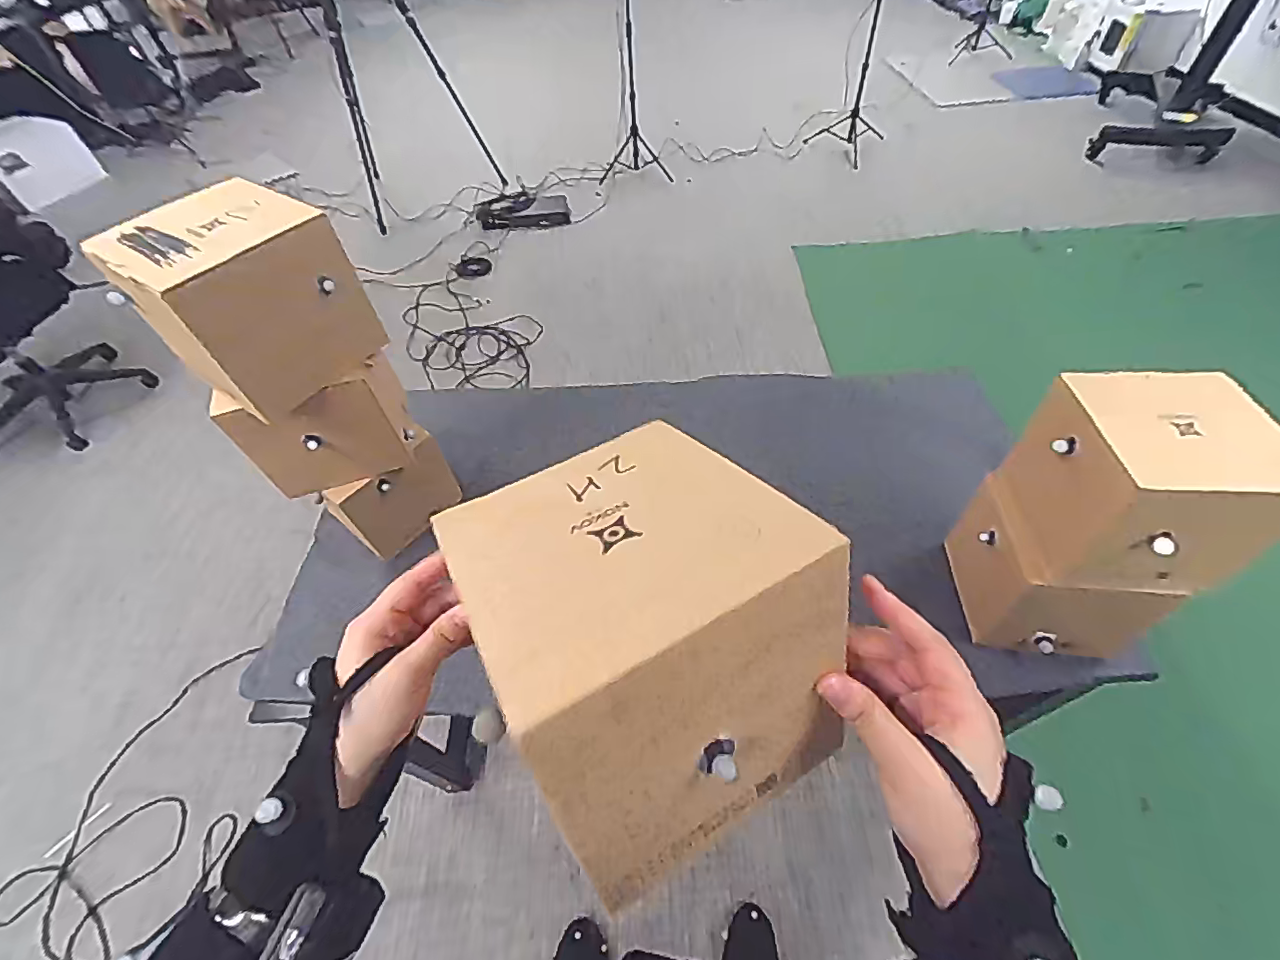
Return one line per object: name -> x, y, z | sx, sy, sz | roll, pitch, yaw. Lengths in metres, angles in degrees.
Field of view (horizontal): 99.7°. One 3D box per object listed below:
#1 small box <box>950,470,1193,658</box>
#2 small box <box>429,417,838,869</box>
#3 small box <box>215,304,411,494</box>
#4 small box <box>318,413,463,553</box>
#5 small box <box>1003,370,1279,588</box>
small box -> 0.534, 0.109, 0.708 | 0.168, 0.176, 0.179 | 3, 50, 9
small box -> -0.002, 0.092, 0.328 | 0.168, 0.176, 0.179 | -26, 36, -17
small box -> -0.433, -0.108, 0.748 | 0.179, 0.176, 0.168 | -18, 54, -9
small box -> -0.423, -0.011, 0.881 | 0.179, 0.176, 0.168 | 31, 61, 25
small box -> 0.537, 0.001, 0.586 | 0.168, 0.176, 0.179 | 1, 48, 7
